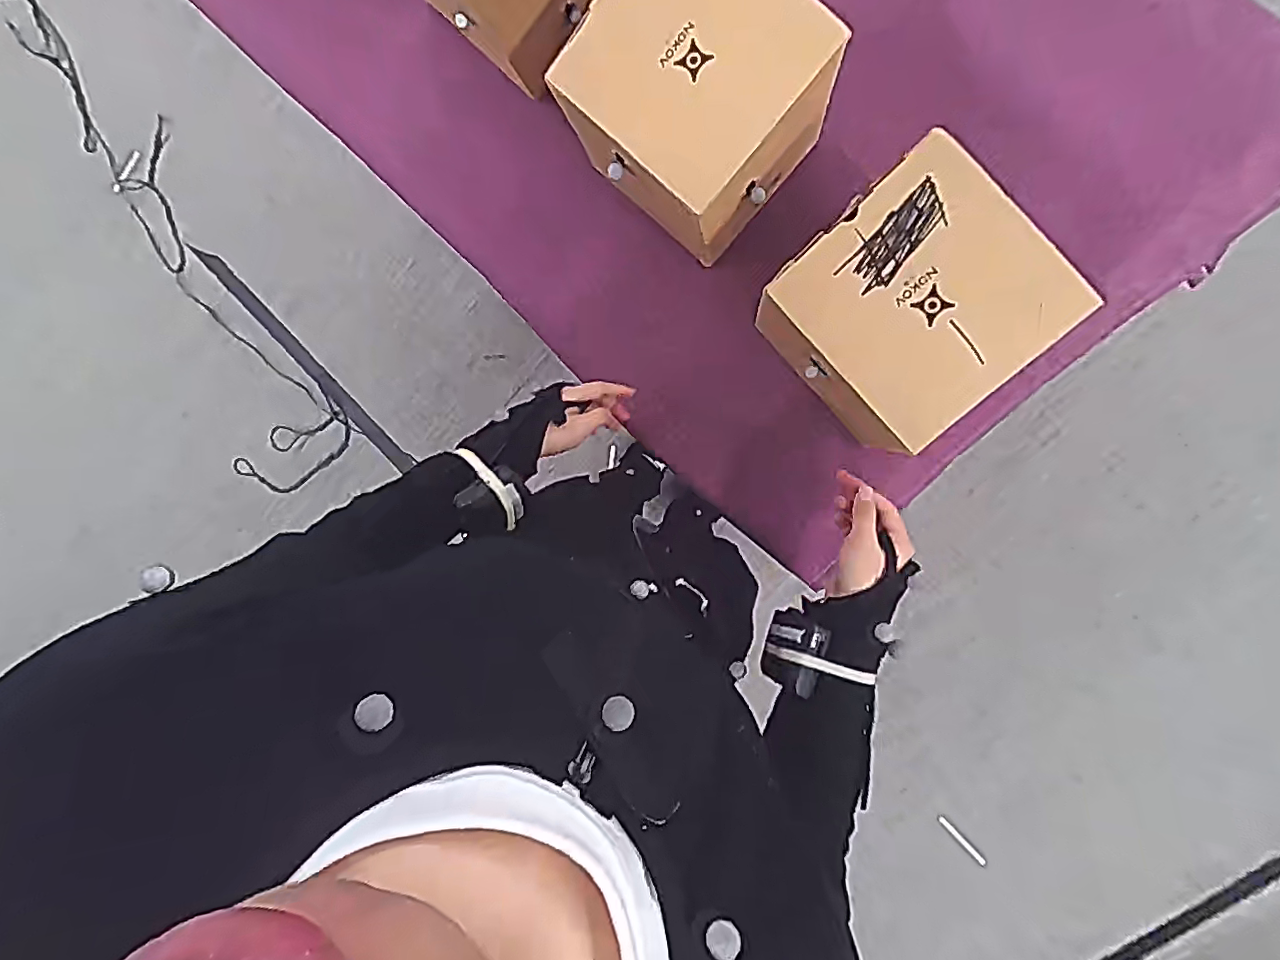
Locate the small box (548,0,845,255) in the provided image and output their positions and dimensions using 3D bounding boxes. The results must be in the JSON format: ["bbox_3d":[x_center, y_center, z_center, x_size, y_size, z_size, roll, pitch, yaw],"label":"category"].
[{"bbox_3d":[0.054,-0.335,0.498,0.179,0.176,0.168,43,102,3],"label":"small box"}]

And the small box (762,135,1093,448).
[{"bbox_3d":[0.226,-0.146,0.485,0.168,0.176,0.179,-42,89,12],"label":"small box"}]
